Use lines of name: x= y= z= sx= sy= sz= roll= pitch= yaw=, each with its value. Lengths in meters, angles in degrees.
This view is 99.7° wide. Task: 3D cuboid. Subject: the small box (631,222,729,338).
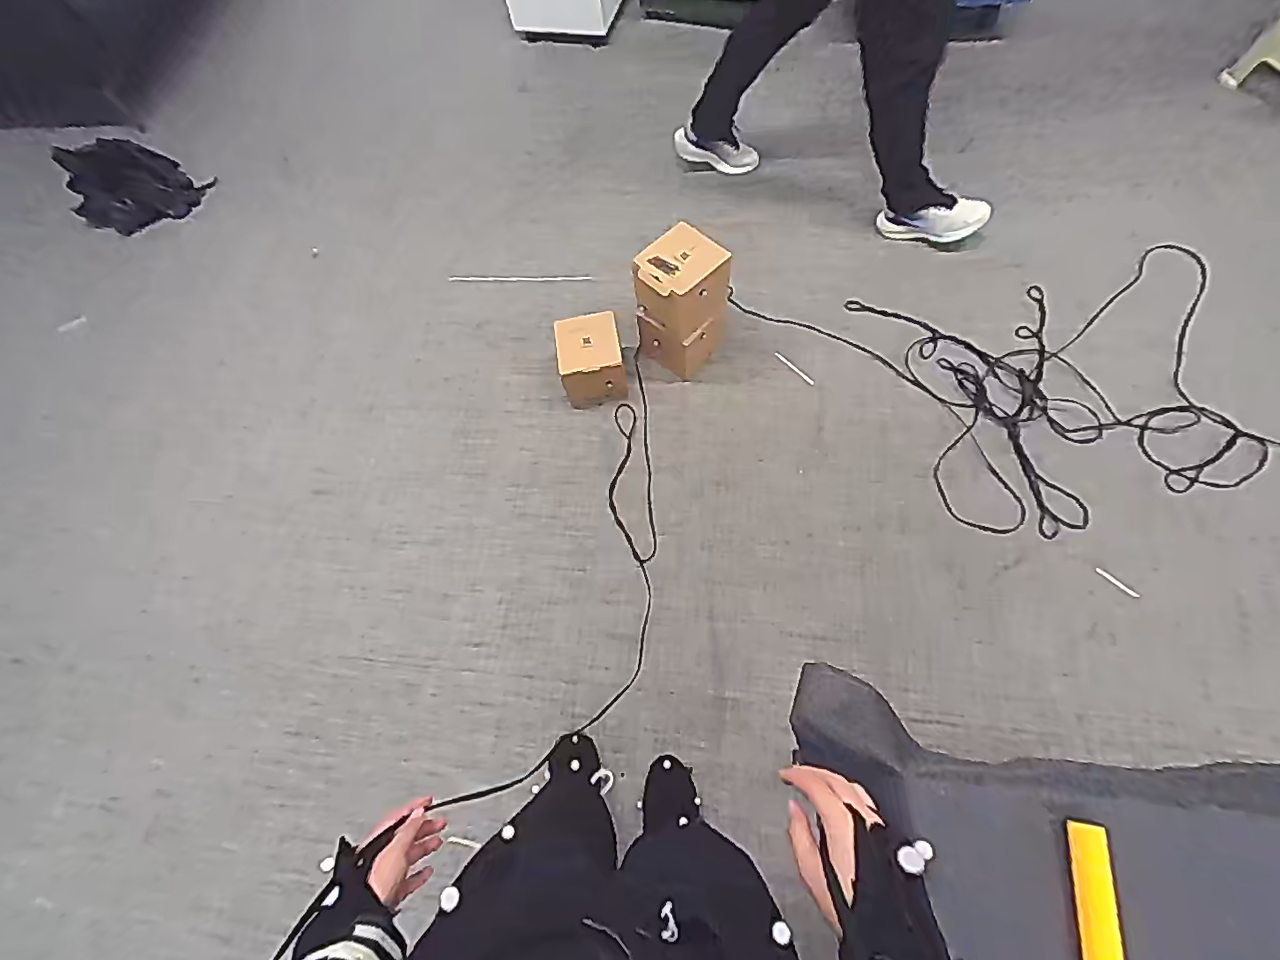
small box: x=0.102 y=-0.489 z=1.344 sx=0.179 sy=0.176 sz=0.168 roll=-42 pitch=70 yaw=-13

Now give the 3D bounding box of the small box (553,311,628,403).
small box: x=-0.132 y=-0.327 z=1.483 sx=0.168 sy=0.176 sz=0.179 roll=-11 pitch=66 yaw=0

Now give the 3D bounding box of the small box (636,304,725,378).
small box: x=0.112 y=-0.415 z=1.491 sx=0.179 sy=0.176 sz=0.168 roll=38 pitch=75 yaw=19
